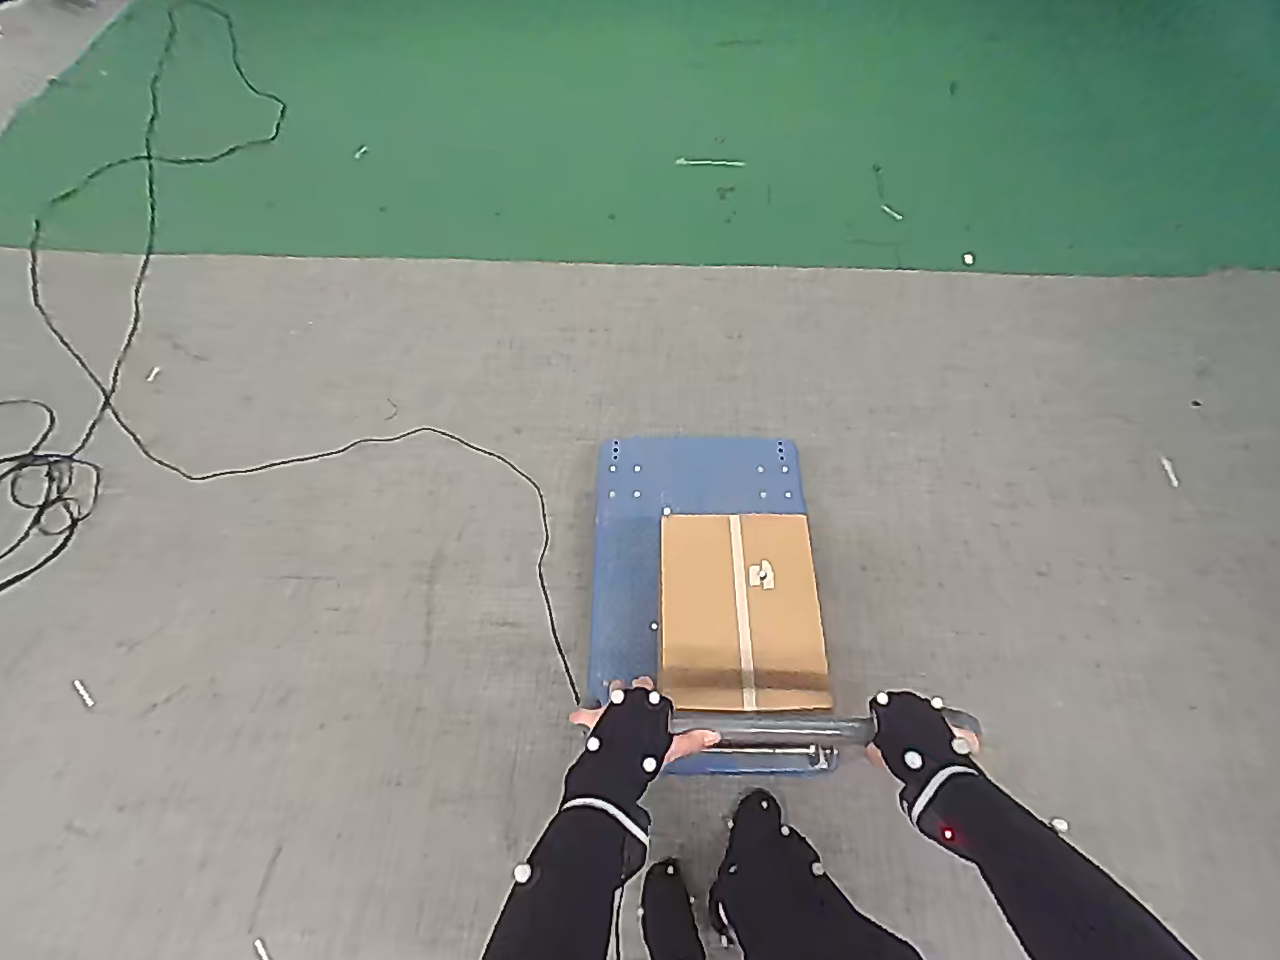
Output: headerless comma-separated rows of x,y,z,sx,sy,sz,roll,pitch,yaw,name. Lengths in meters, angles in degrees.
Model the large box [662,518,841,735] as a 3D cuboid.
0.209,0.330,1.188,0.320,0.320,0.408,0,61,0,large box
